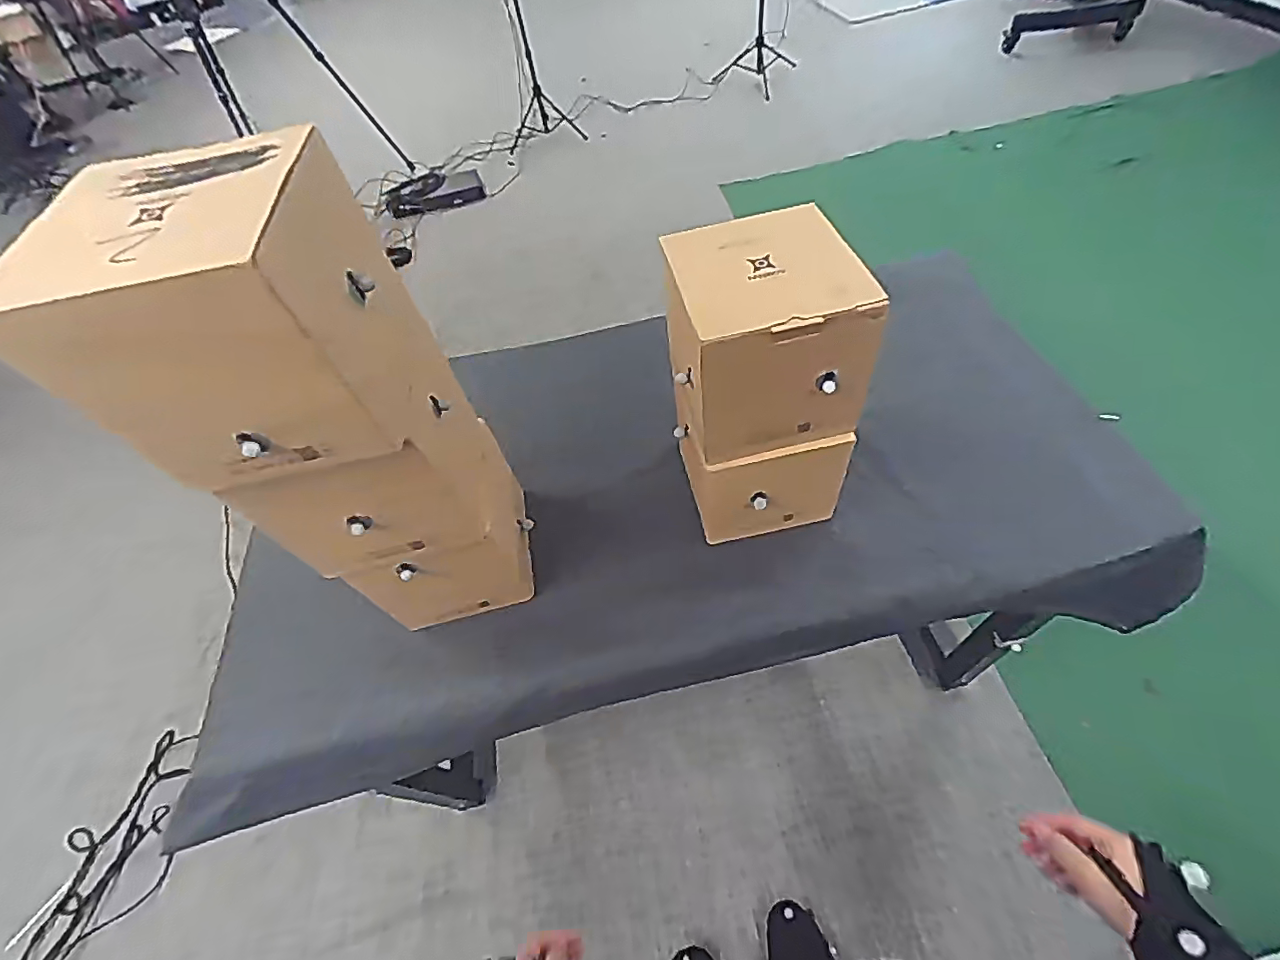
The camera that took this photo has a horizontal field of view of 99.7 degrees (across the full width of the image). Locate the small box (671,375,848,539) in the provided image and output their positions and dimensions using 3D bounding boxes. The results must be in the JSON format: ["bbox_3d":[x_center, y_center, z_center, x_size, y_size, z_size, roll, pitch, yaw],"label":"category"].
[{"bbox_3d":[0.141,-0.040,0.687,0.168,0.176,0.179,-12,53,0],"label":"small box"}]

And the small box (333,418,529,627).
[{"bbox_3d":[-0.244,0.056,0.669,0.168,0.176,0.179,-14,53,-3],"label":"small box"}]

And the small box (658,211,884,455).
[{"bbox_3d":[0.121,-0.144,0.563,0.168,0.176,0.179,-12,52,-2],"label":"small box"}]

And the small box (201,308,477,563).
[{"bbox_3d":[-0.268,-0.034,0.532,0.168,0.176,0.179,-13,53,-2],"label":"small box"}]
